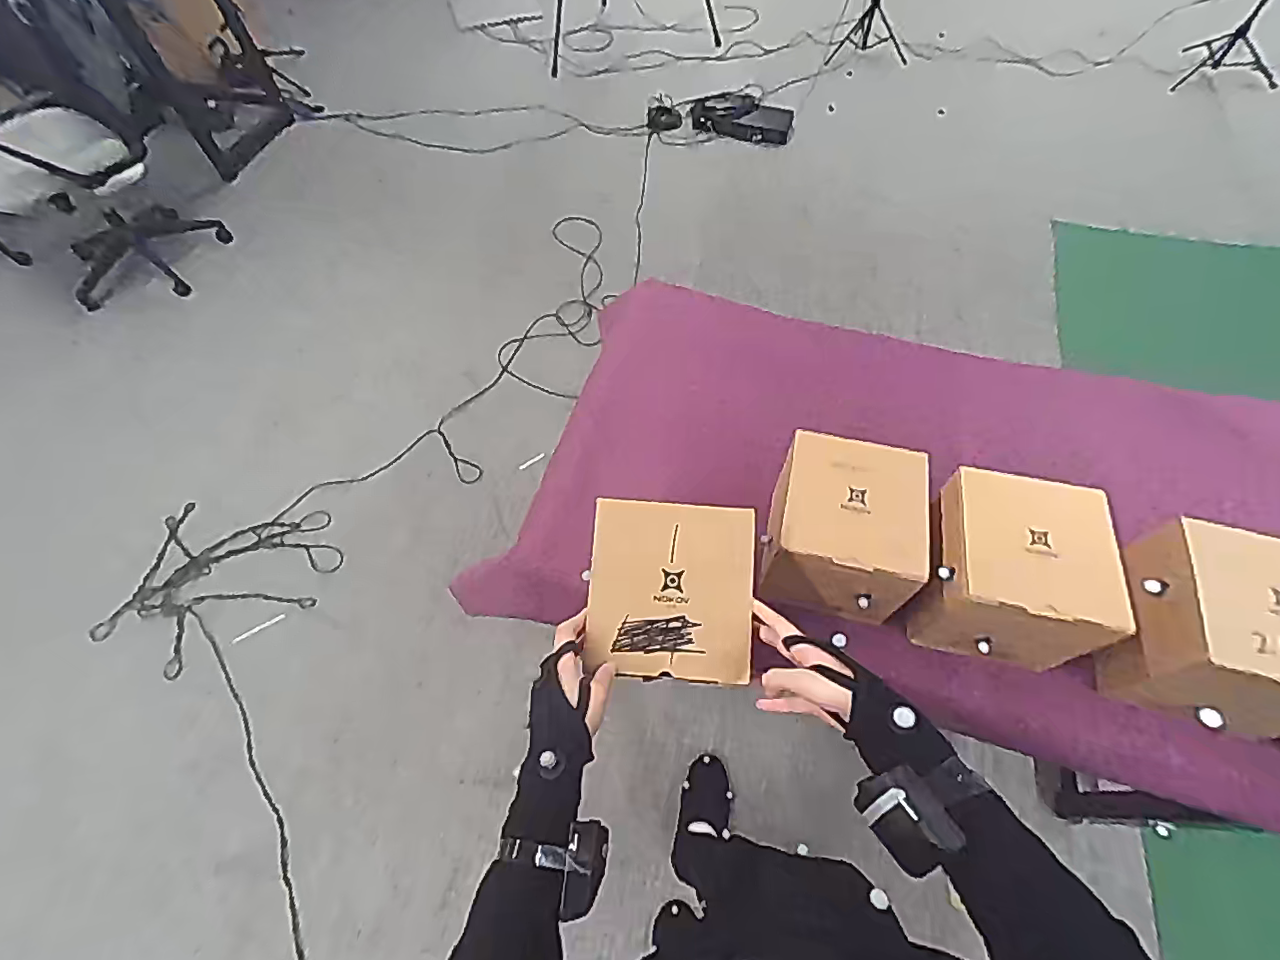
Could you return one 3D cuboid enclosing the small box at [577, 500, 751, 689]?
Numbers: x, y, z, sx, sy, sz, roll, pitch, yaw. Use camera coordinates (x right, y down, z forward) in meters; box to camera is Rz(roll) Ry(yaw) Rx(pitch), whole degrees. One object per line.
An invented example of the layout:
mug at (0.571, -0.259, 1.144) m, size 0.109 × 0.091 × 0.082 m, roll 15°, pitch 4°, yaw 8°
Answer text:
small box at (0.027, 0.125, 0.614) m, size 0.168 × 0.176 × 0.179 m, roll 4°, pitch 79°, yaw 1°
